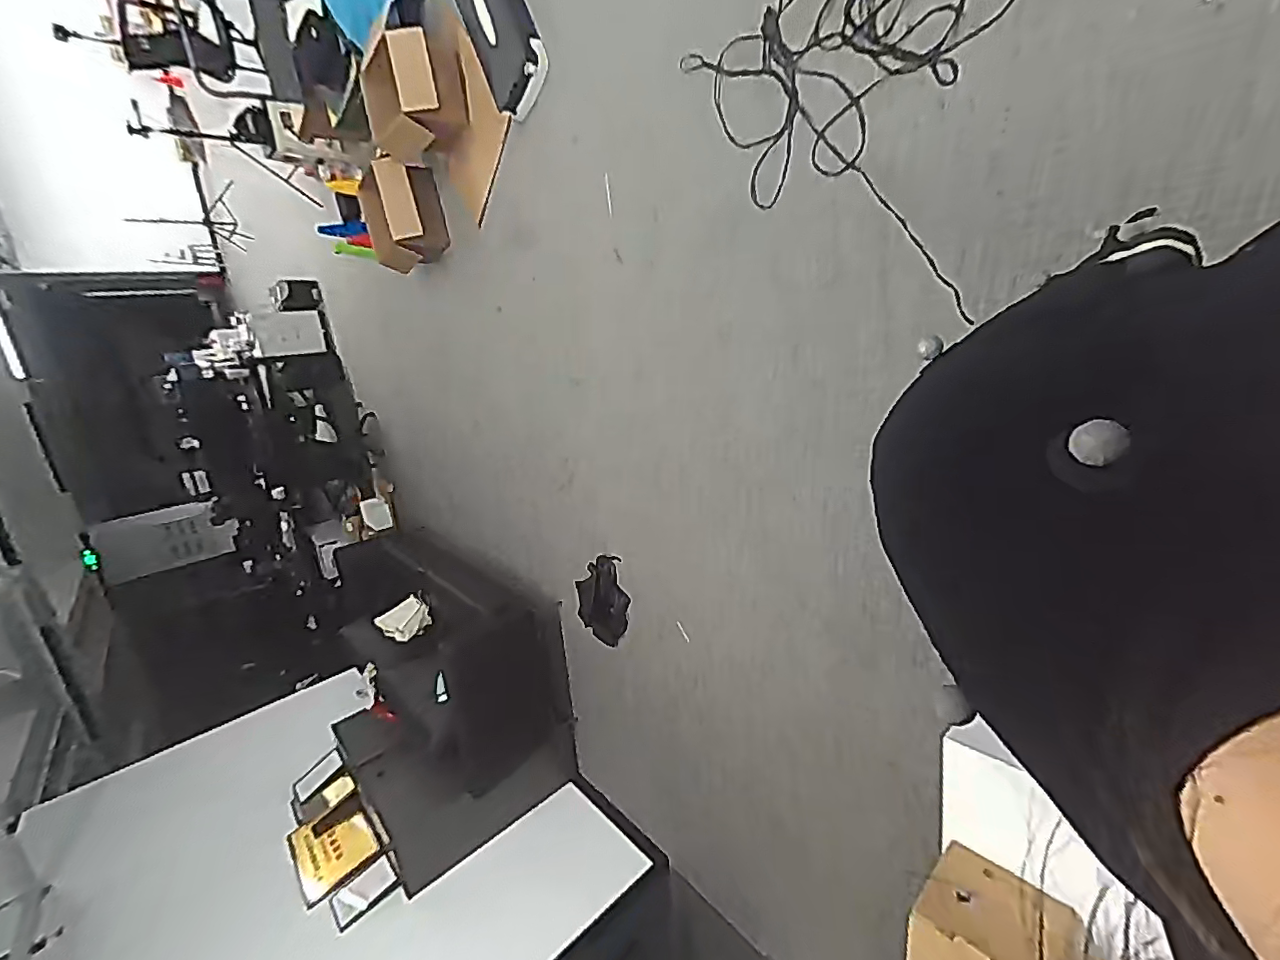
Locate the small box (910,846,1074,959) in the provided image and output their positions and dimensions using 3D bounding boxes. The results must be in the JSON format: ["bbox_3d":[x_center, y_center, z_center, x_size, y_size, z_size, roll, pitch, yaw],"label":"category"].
[{"bbox_3d":[0.524,0.708,0.810,0.168,0.176,0.179,13,115,48],"label":"small box"}]
